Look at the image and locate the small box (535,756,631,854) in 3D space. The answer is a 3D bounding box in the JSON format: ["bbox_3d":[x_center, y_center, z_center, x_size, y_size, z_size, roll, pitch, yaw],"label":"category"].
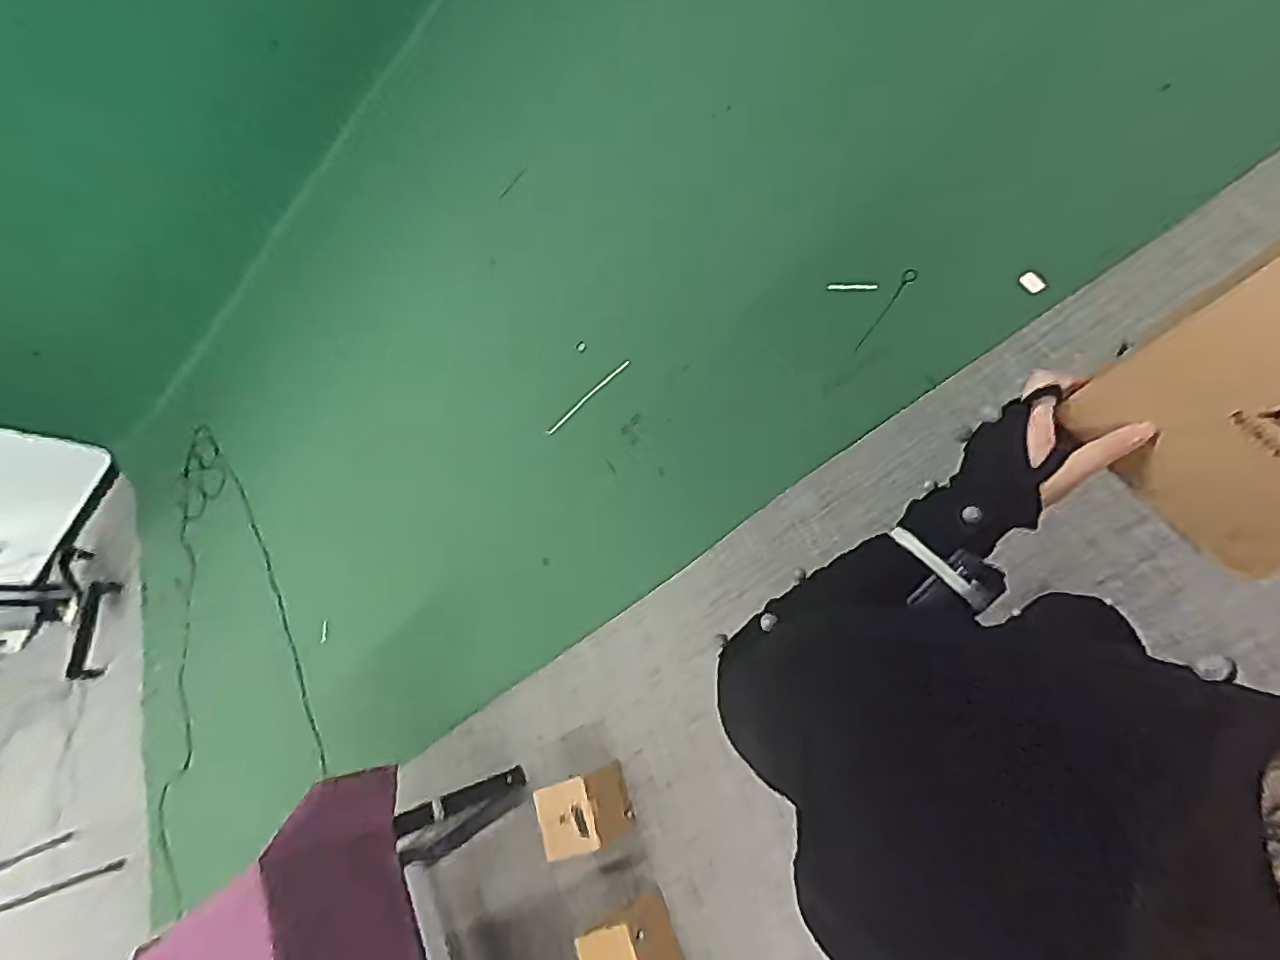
[{"bbox_3d":[-0.143,0.854,1.434,0.179,0.176,0.168,-30,65,24],"label":"small box"}]
